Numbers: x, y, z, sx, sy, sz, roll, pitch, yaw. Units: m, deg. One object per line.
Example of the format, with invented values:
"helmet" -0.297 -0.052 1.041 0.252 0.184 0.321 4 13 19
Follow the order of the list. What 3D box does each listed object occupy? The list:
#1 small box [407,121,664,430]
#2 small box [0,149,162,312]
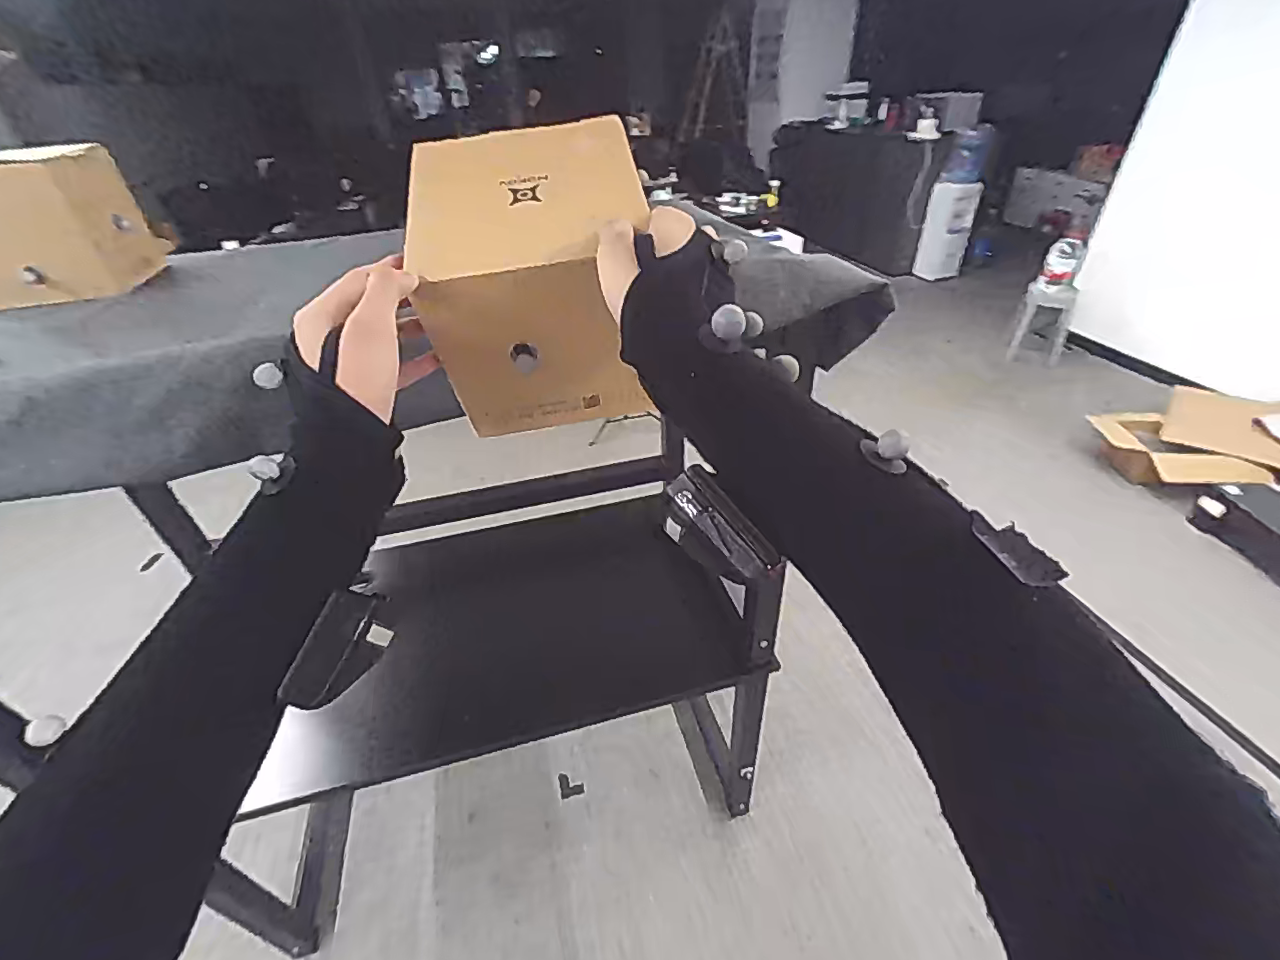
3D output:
"small box" -0.075 -0.158 0.452 0.168 0.176 0.179 -10 58 -3
"small box" -0.822 -0.345 0.745 0.179 0.176 0.168 -12 38 -13
